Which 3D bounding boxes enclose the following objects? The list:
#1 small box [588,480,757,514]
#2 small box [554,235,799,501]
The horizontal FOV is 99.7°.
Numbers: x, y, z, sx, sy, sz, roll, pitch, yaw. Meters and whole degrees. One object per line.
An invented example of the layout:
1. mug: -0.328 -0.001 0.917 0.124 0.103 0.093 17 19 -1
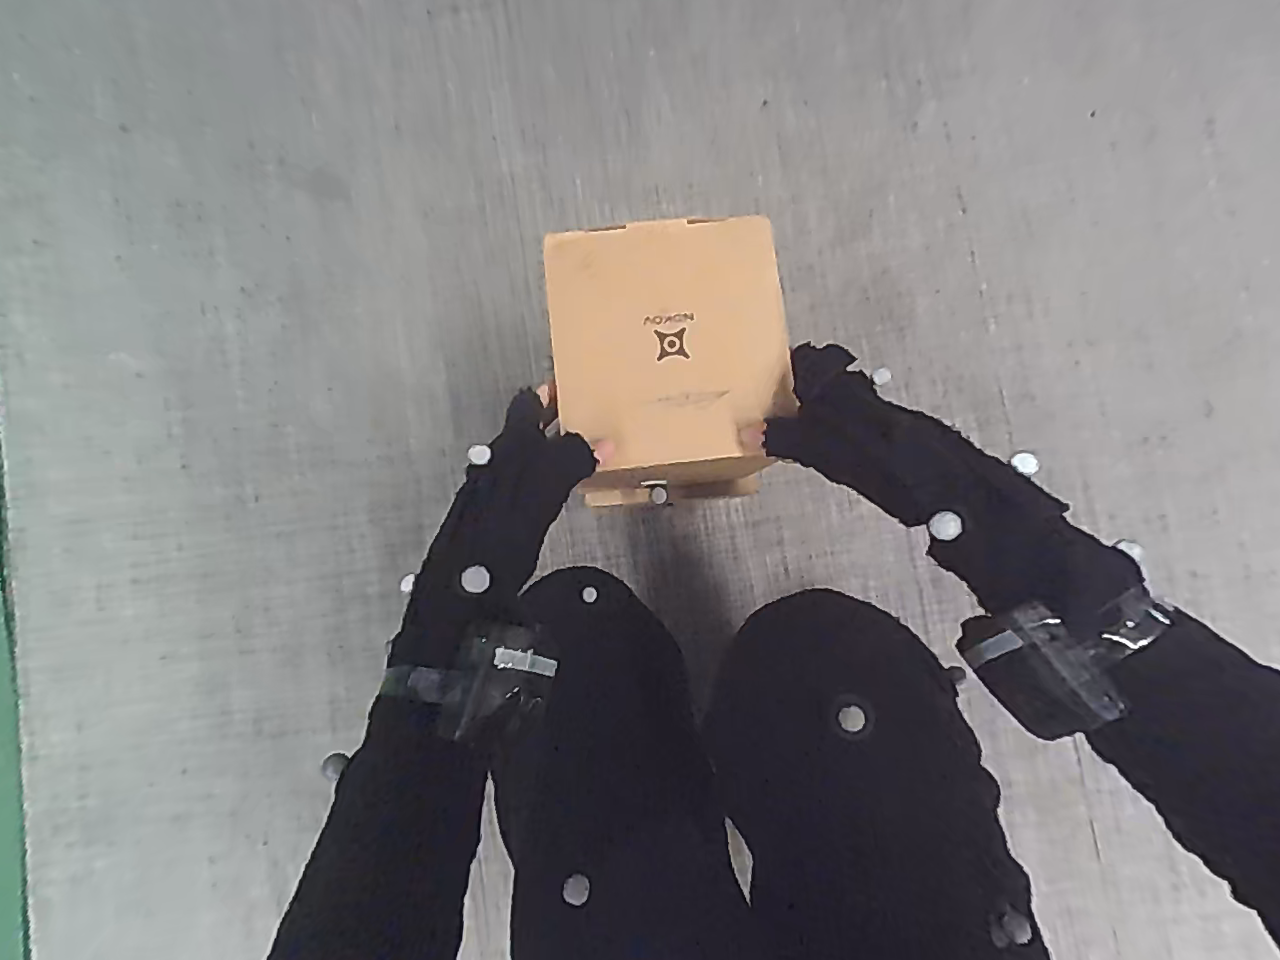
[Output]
1. small box: 0.030 -0.047 0.638 0.179 0.176 0.168 -4 85 1
2. small box: 0.021 -0.081 0.467 0.168 0.176 0.179 -6 84 -2
